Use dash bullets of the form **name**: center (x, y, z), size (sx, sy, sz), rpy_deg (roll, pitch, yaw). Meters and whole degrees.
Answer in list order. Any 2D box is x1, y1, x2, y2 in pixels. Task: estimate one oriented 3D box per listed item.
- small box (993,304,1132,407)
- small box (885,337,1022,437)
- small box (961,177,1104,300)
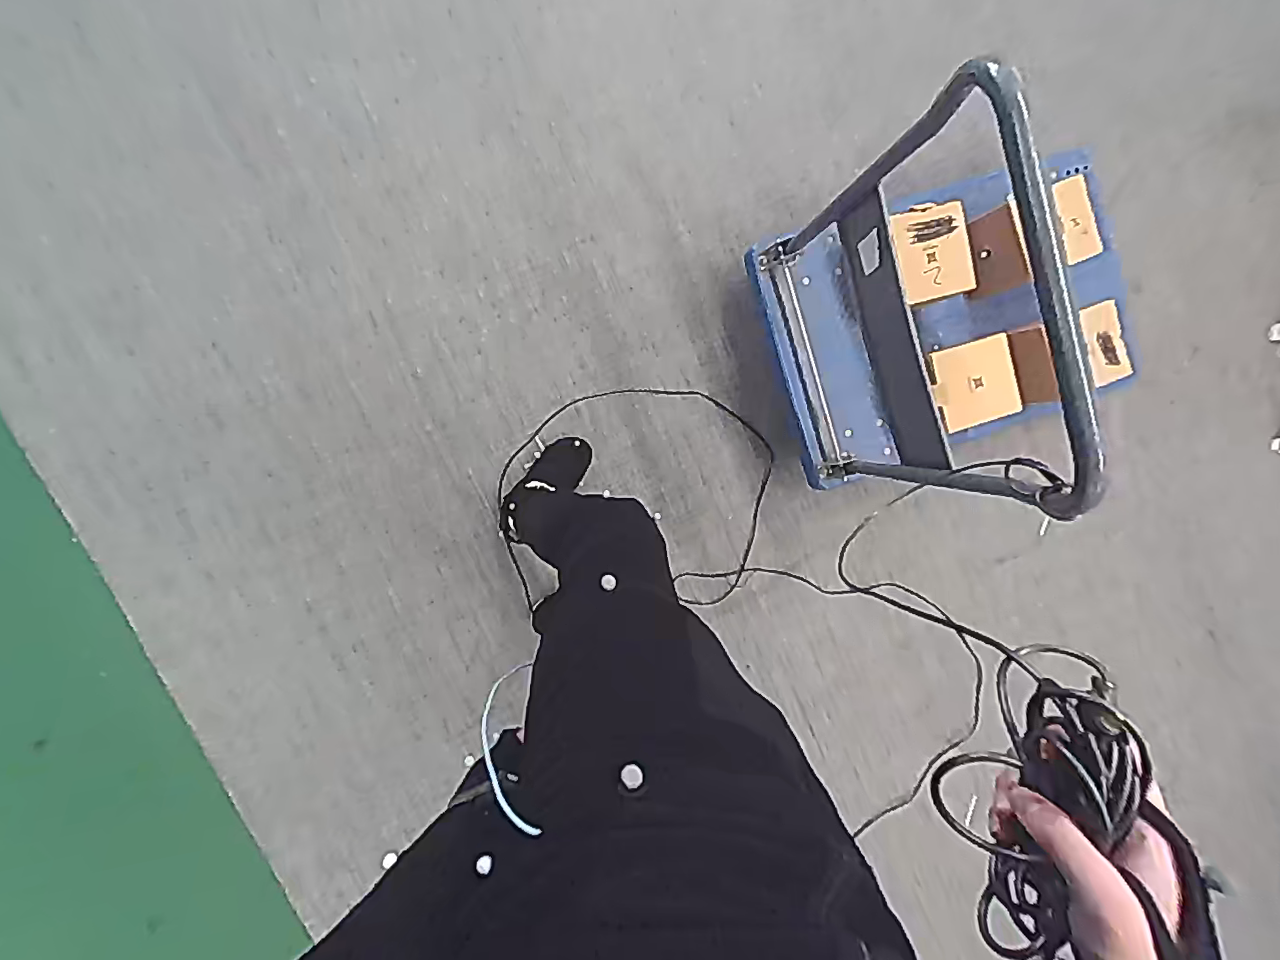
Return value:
- **small box**: center (0.910, -0.265, 1.188), size (0.179, 0.176, 0.168), rpy_deg (-20, 95, -6)
- **small box**: center (0.664, -0.193, 1.161), size (0.179, 0.176, 0.168), rpy_deg (-17, 96, -6)
- **small box**: center (0.827, -0.507, 1.162), size (0.179, 0.176, 0.168), rpy_deg (-22, 97, -6)
